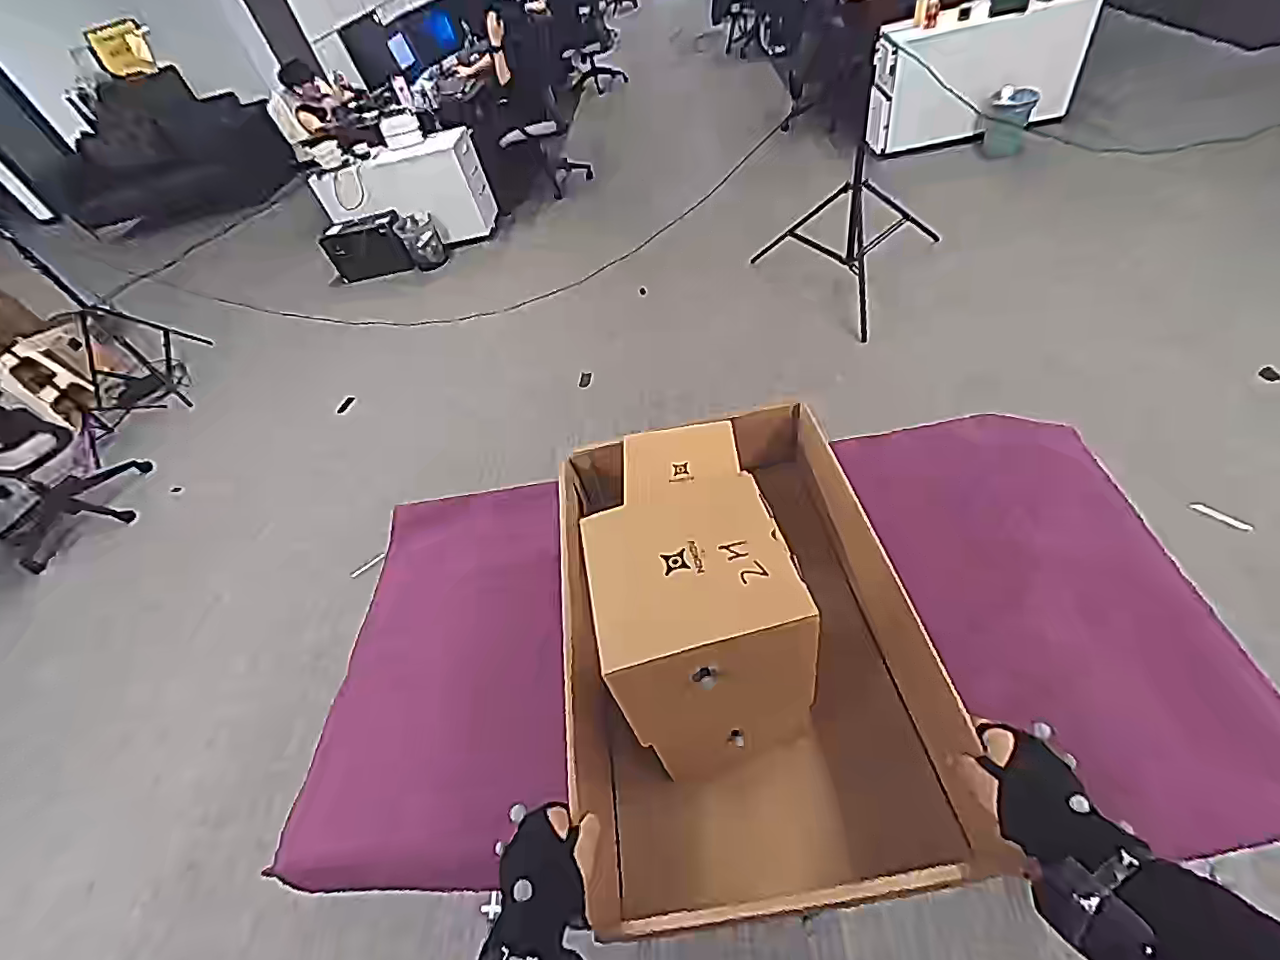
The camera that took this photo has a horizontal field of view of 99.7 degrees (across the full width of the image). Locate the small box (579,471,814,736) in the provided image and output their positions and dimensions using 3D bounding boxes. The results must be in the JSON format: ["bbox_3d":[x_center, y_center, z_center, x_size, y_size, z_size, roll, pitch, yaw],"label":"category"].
[{"bbox_3d":[0.053,0.123,0.521,0.179,0.176,0.168,-15,46,0],"label":"small box"}]
